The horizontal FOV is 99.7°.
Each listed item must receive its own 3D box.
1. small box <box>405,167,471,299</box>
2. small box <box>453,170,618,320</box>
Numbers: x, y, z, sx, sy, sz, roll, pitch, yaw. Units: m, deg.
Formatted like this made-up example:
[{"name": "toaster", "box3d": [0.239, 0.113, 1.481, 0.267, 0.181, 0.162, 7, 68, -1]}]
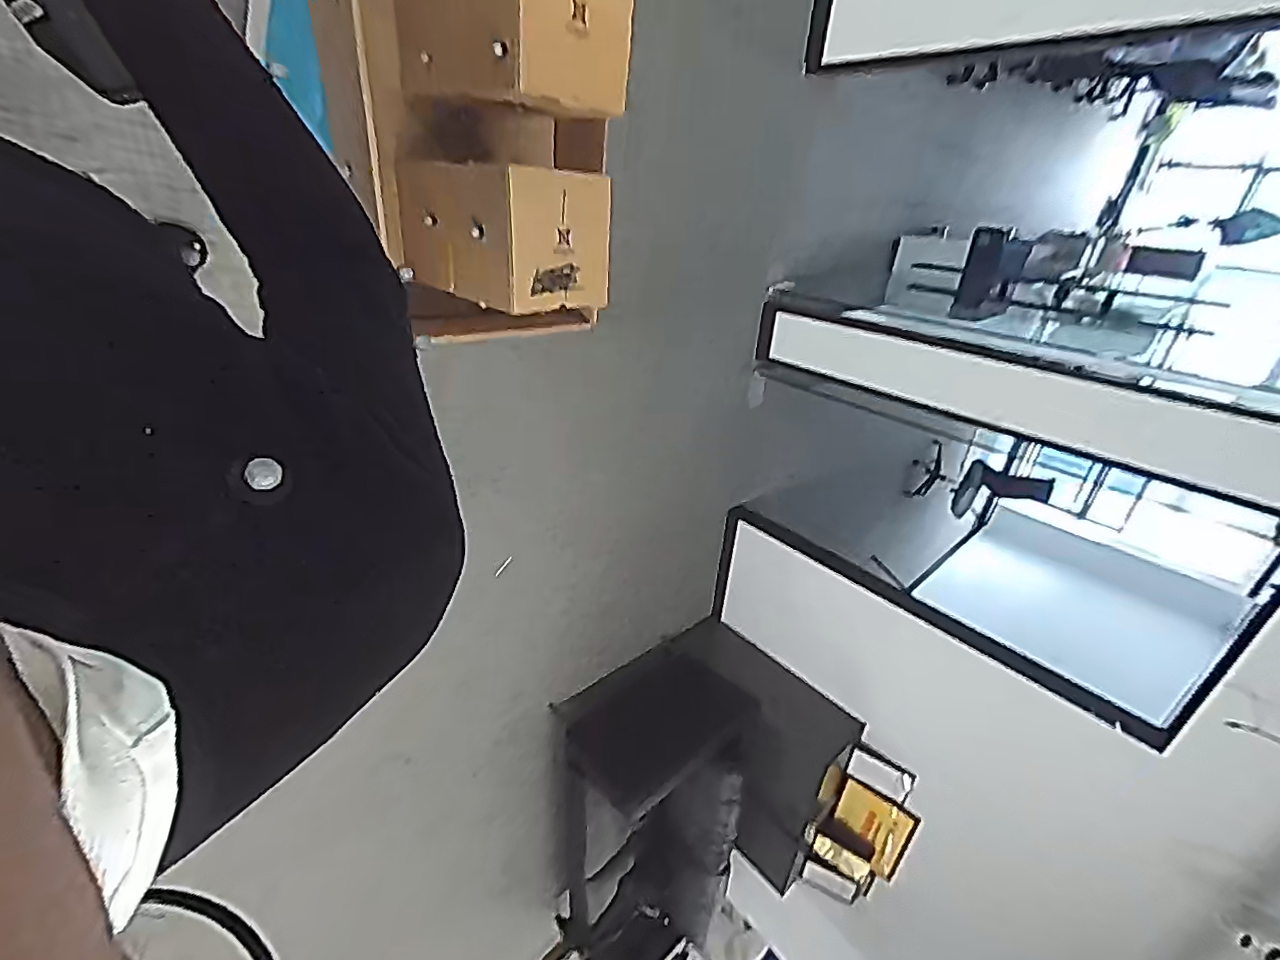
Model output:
[{"name": "small box", "box3d": [-0.265, -0.397, 0.879, 0.168, 0.176, 0.179, -18, 124, -40]}, {"name": "small box", "box3d": [-0.151, -0.337, 0.777, 0.168, 0.176, 0.179, -19, 124, -40]}]
